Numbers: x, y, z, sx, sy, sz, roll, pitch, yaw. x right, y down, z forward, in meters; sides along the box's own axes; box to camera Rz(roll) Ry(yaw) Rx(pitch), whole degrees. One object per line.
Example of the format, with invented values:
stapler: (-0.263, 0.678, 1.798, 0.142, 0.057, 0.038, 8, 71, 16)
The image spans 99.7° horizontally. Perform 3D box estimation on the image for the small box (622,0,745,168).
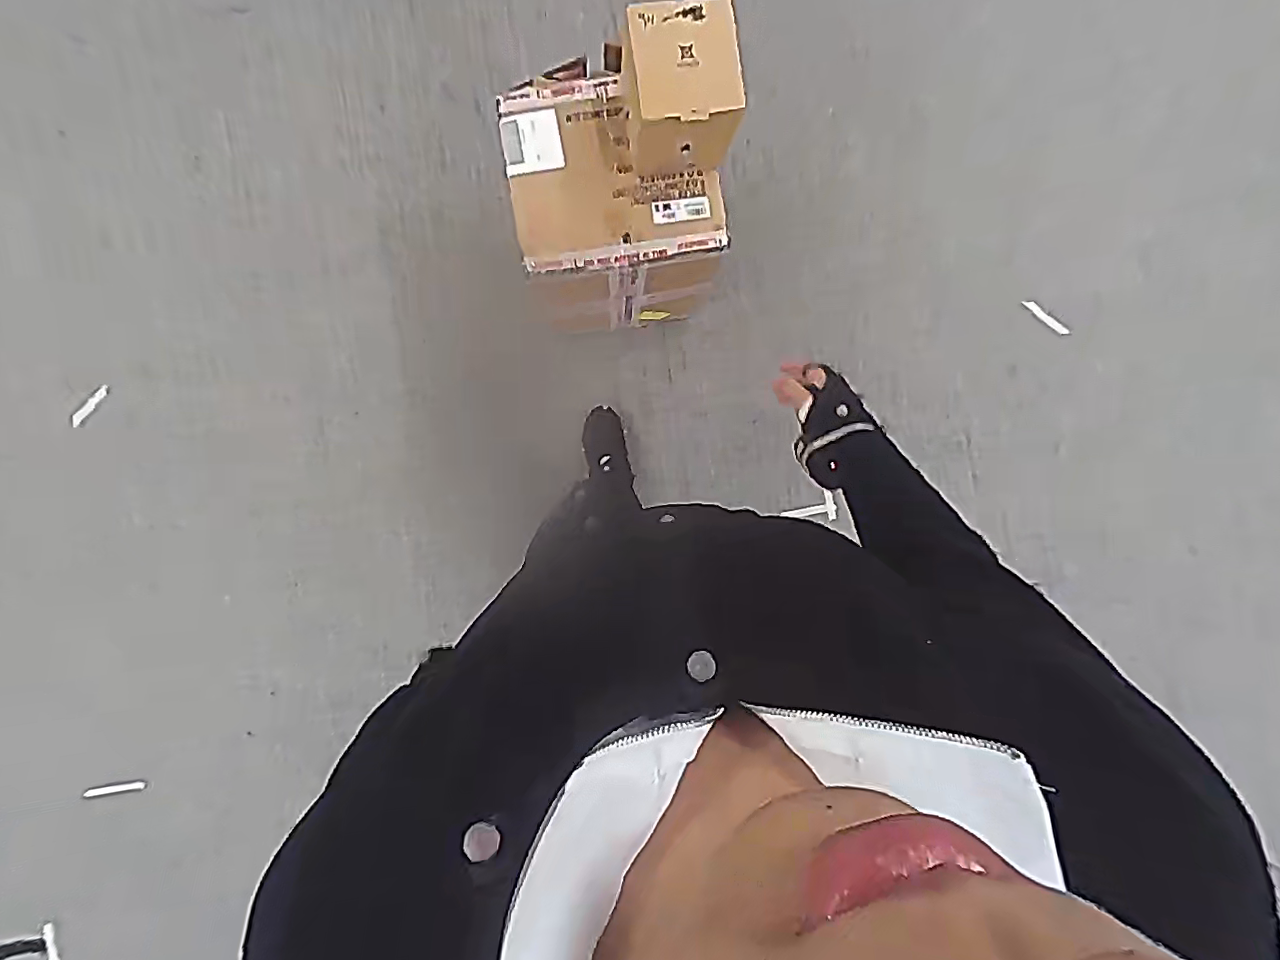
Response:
small box: (0.065, -0.647, 0.902, 0.168, 0.176, 0.179, -9, 94, -5)
